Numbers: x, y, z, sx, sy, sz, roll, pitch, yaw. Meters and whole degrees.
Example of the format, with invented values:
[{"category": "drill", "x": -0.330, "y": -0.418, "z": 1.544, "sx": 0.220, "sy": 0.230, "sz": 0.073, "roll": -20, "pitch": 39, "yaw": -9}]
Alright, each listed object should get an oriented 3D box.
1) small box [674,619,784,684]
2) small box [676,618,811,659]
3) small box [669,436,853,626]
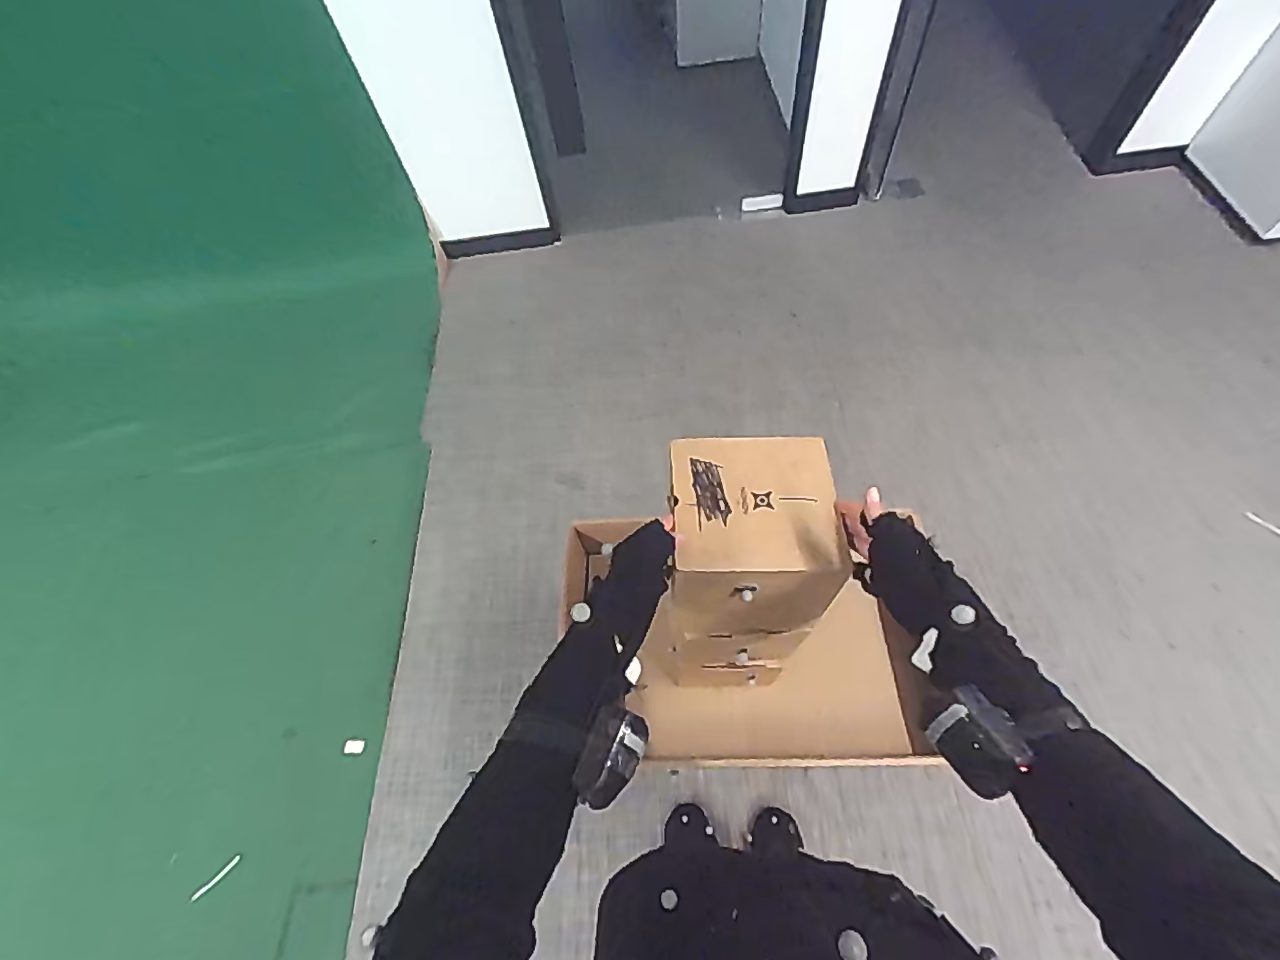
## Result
[{"category": "small box", "x": 0.141, "y": 0.245, "z": 0.922, "sx": 0.168, "sy": 0.176, "sz": 0.179, "roll": -2, "pitch": 58, "yaw": 2}, {"category": "small box", "x": 0.134, "y": 0.157, "z": 0.784, "sx": 0.168, "sy": 0.176, "sz": 0.179, "roll": -4, "pitch": 61, "yaw": 1}, {"category": "small box", "x": 0.122, "y": 0.065, "z": 0.629, "sx": 0.179, "sy": 0.176, "sz": 0.168, "roll": 0, "pitch": 56, "yaw": 1}]
